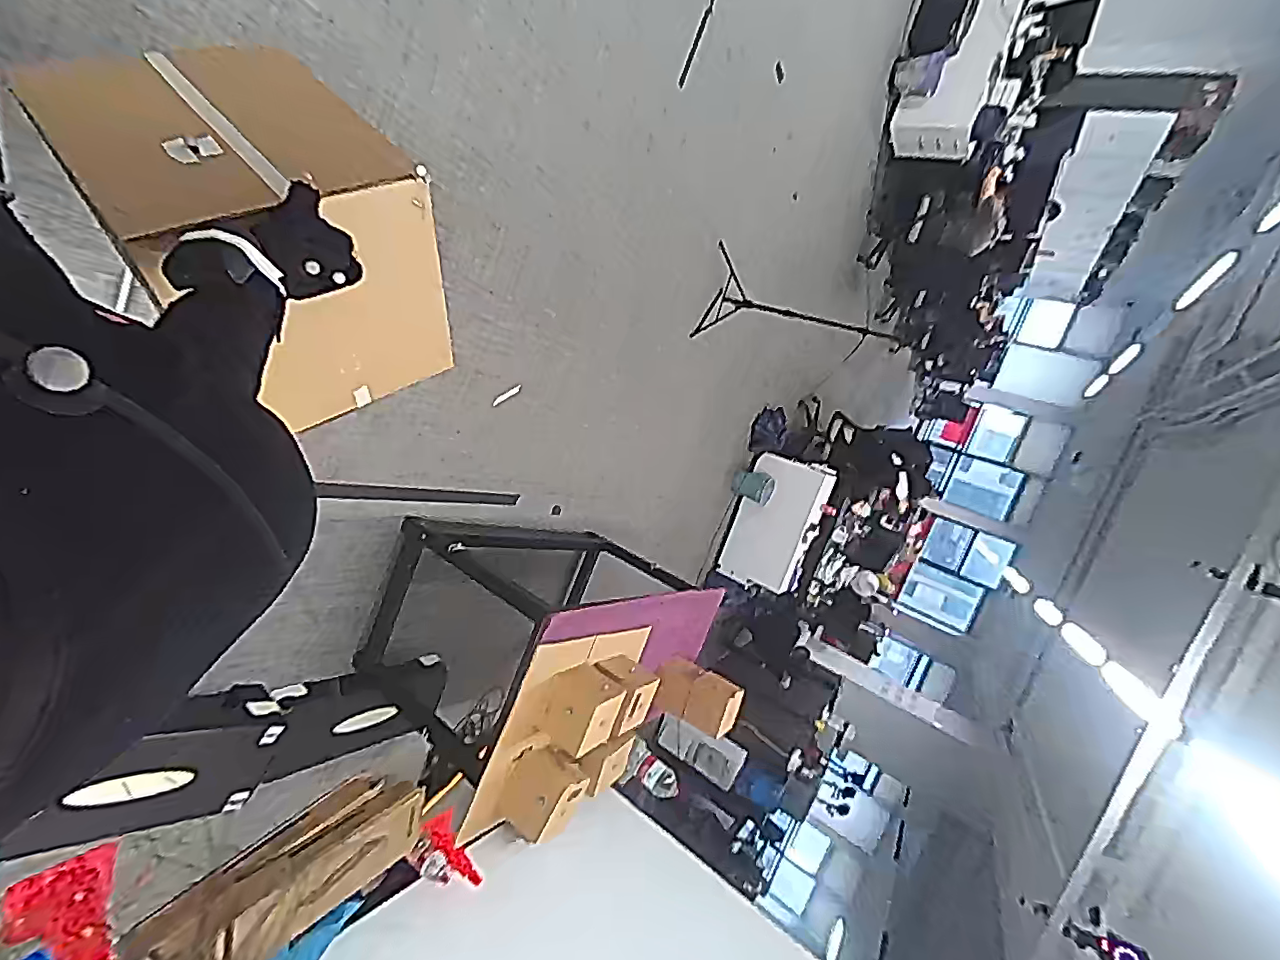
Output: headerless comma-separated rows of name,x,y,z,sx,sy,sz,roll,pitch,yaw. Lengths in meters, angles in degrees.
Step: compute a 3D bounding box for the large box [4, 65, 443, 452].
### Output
large box,-0.538,-0.320,0.771,0.320,0.408,0.320,-34,158,-30
